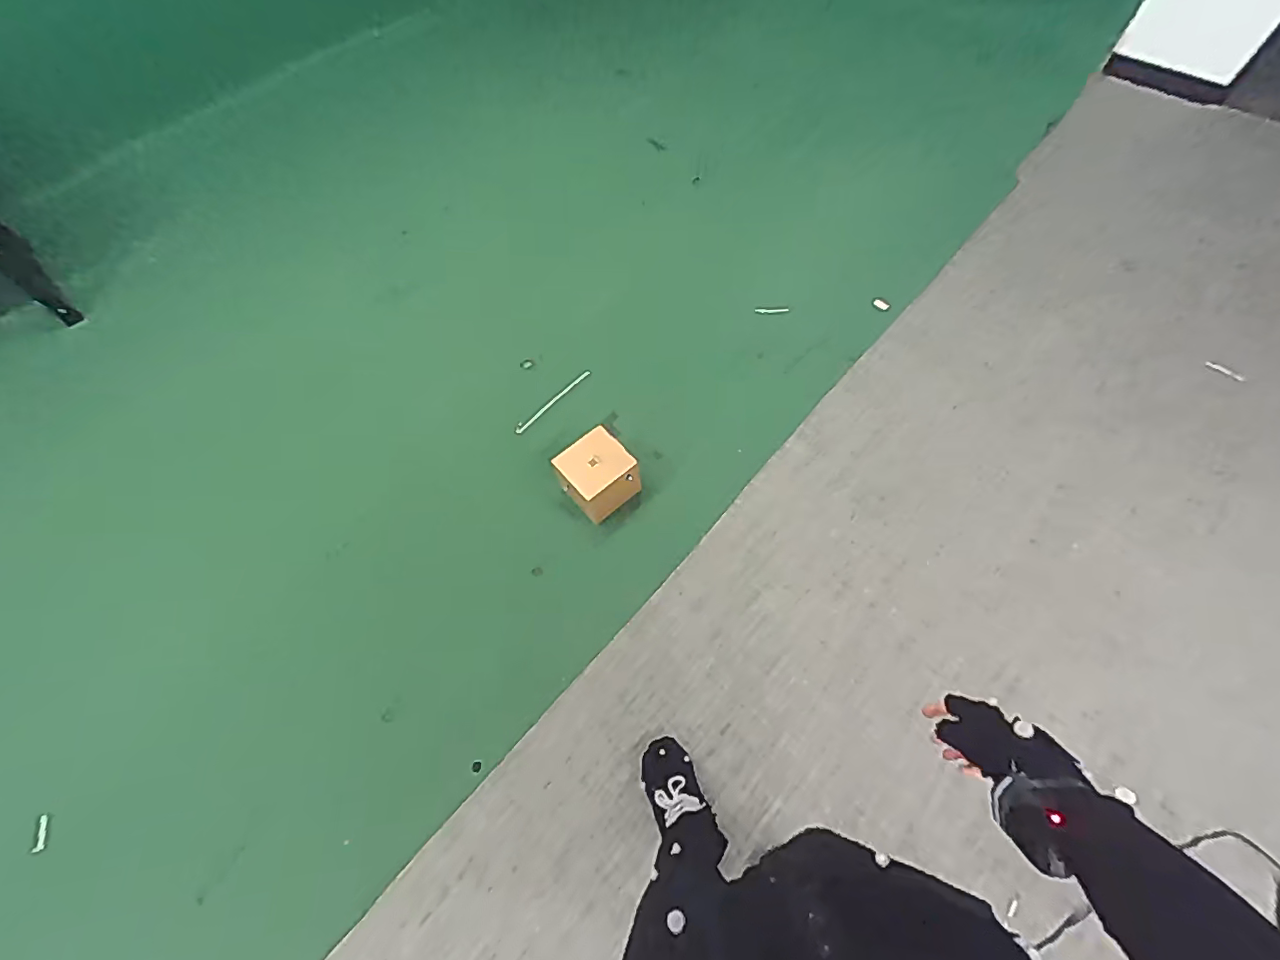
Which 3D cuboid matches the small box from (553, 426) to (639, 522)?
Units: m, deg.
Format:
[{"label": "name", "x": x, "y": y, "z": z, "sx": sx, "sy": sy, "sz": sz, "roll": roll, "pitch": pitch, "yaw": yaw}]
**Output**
[{"label": "small box", "x": -0.116, "y": -0.011, "z": 1.520, "sx": 0.179, "sy": 0.176, "sz": 0.168, "roll": -39, "pitch": 67, "yaw": -16}]
